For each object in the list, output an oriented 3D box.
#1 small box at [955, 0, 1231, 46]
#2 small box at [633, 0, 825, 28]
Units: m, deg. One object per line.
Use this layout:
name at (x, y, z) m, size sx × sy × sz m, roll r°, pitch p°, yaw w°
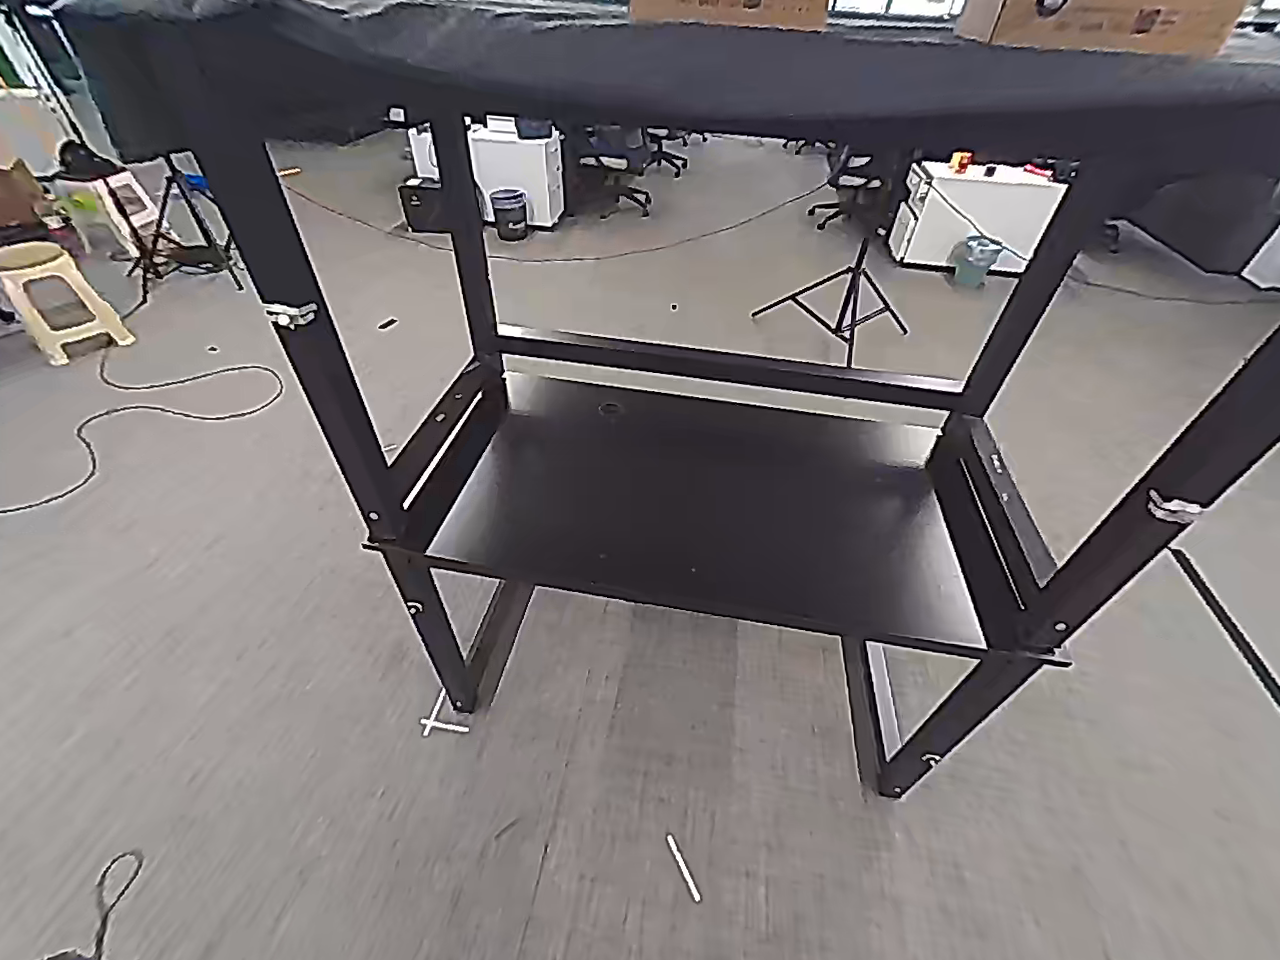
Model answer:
small box at (0.384, -0.460, 0.434) m, size 0.168 × 0.176 × 0.179 m, roll 11°, pitch 42°, yaw 9°
small box at (0.088, -0.501, 0.459) m, size 0.168 × 0.176 × 0.179 m, roll 9°, pitch 41°, yaw 7°
